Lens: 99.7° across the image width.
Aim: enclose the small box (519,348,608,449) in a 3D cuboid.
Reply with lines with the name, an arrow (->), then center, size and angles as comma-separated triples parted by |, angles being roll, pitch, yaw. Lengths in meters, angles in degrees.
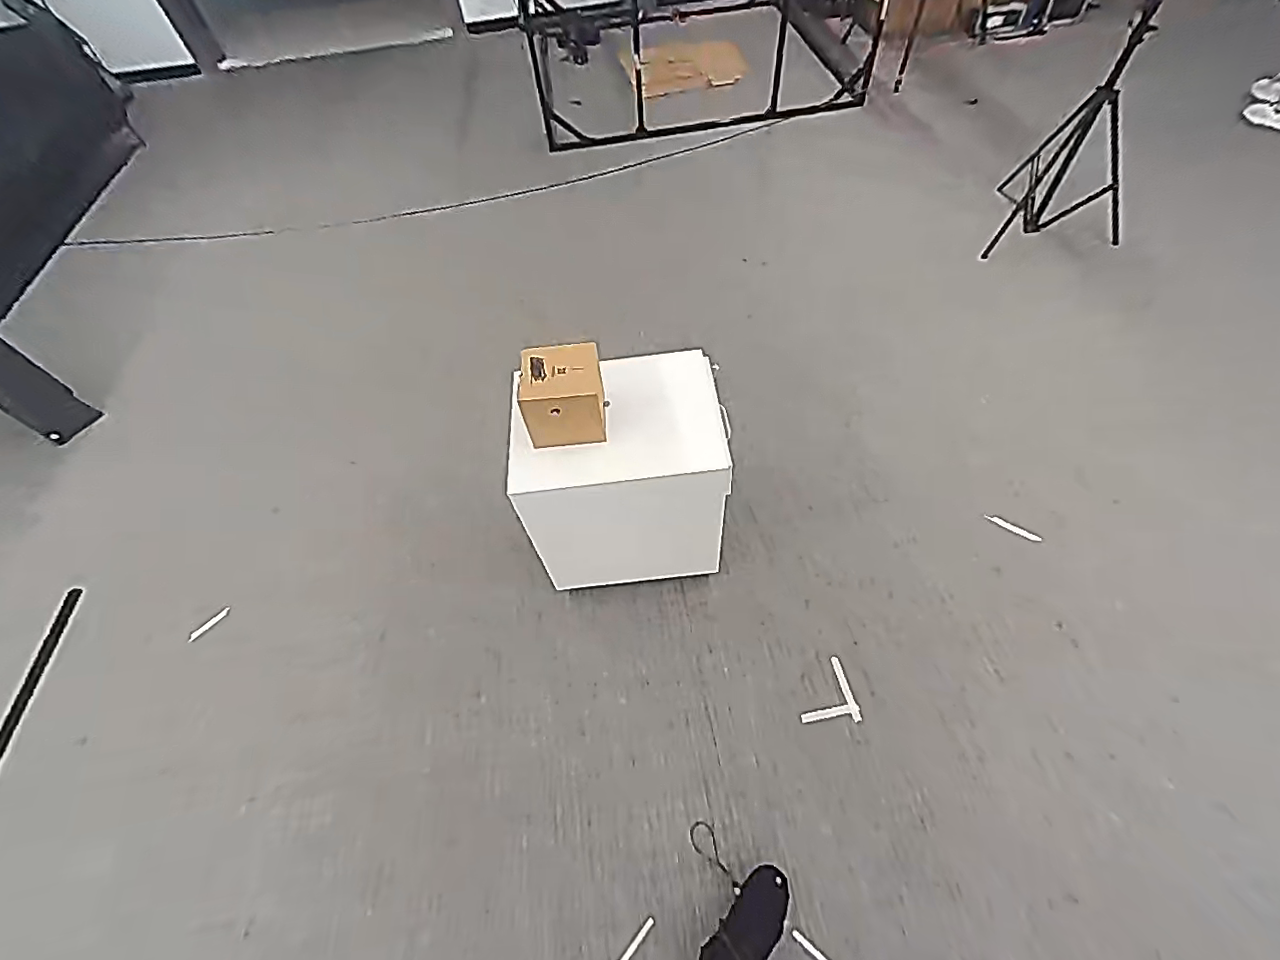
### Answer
small box -> -0.173, -0.186, 1.273 | 0.179, 0.176, 0.168 | -5, 55, 1
